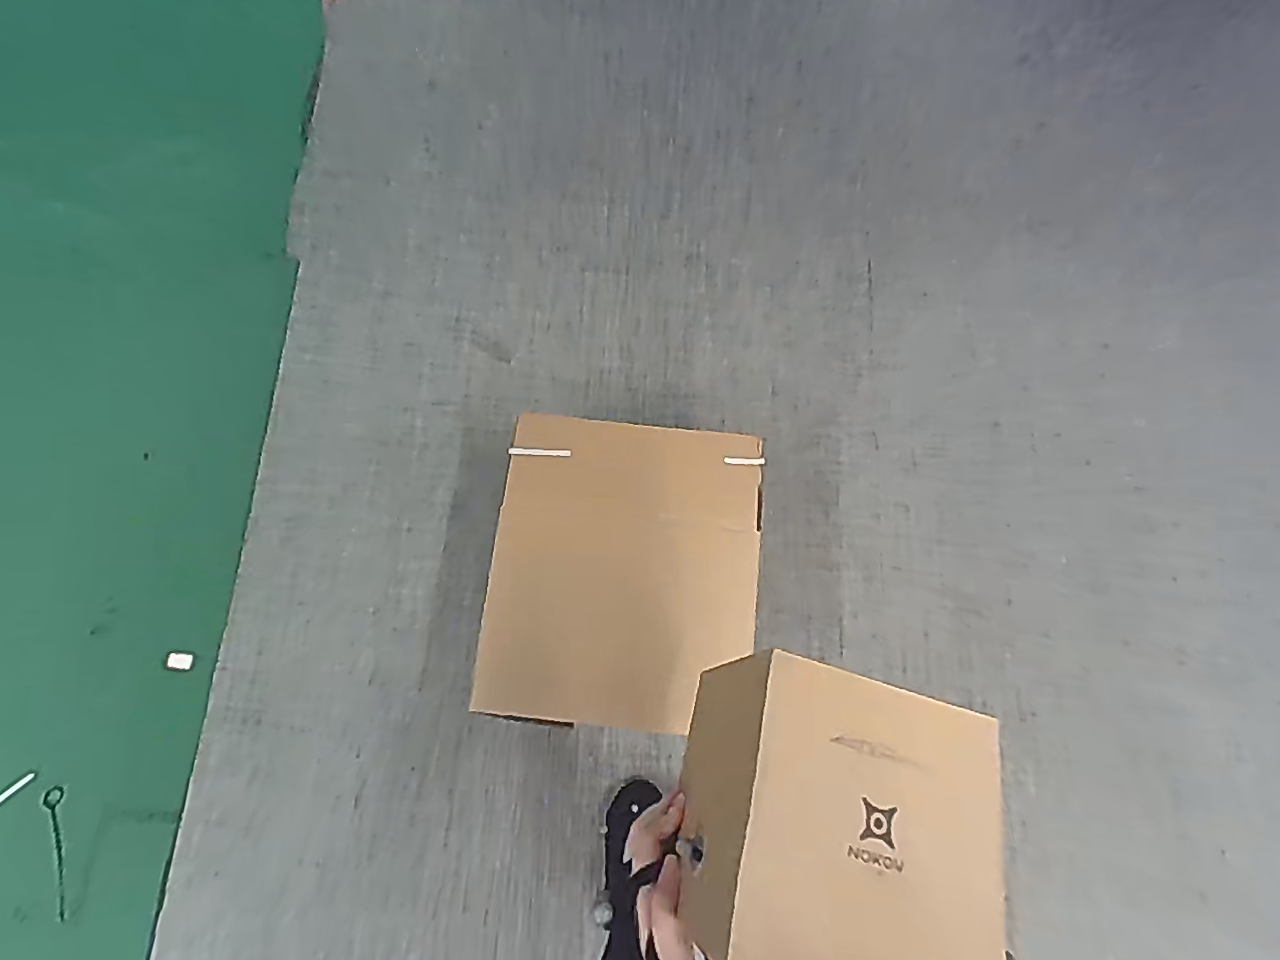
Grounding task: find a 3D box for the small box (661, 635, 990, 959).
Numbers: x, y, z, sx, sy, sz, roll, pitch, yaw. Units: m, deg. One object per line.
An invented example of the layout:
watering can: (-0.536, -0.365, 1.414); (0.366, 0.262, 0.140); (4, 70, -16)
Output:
small box: (0.122, 0.236, 0.402); (0.168, 0.176, 0.179); (19, 64, -3)
